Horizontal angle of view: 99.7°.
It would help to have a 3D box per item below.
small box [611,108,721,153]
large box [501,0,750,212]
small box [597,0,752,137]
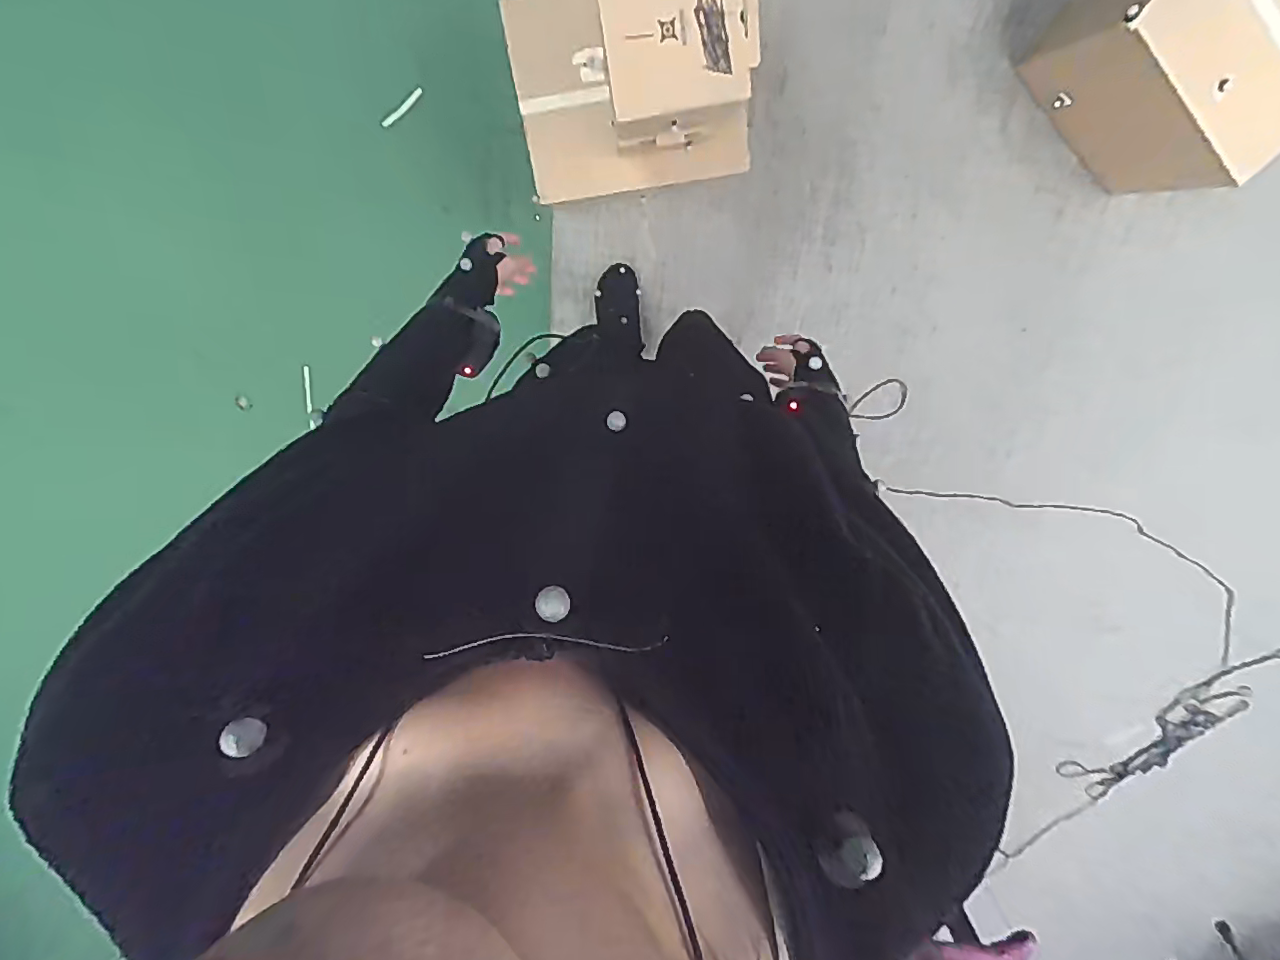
[{"bbox_3d":[0.033,-0.638,0.866,0.168,0.176,0.179,-8,114,2],"label":"small box"},{"bbox_3d":[-0.015,-0.745,1.085,0.408,0.320,0.320,-8,113,4],"label":"large box"},{"bbox_3d":[0.040,-0.573,0.715,0.179,0.176,0.168,-9,114,3],"label":"small box"}]
